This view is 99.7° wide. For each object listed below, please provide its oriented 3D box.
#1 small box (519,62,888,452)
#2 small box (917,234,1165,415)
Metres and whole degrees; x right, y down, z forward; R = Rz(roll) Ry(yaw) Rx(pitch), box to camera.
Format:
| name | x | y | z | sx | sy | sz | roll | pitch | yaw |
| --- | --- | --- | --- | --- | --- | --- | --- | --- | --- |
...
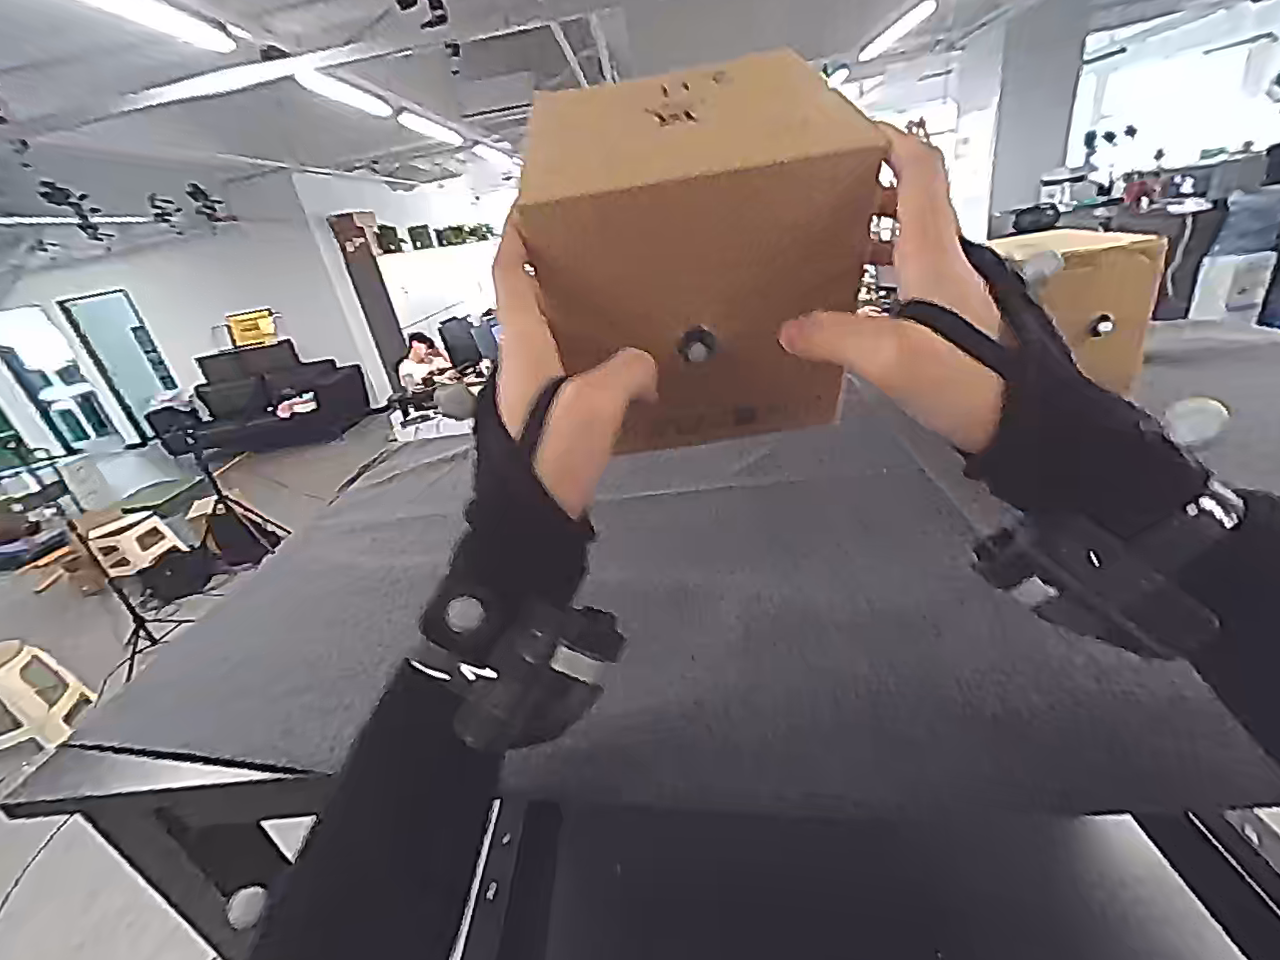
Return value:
| name | x | y | z | sx | sy | sz | roll | pitch | yaw |
| --- | --- | --- | --- | --- | --- | --- | --- | --- | --- |
| small box | 0.033 | -0.132 | 0.346 | 0.168 | 0.176 | 0.179 | -8 | 47 | 3 |
| small box | 0.440 | -0.179 | 0.630 | 0.168 | 0.176 | 0.179 | -5 | 25 | 10 |
